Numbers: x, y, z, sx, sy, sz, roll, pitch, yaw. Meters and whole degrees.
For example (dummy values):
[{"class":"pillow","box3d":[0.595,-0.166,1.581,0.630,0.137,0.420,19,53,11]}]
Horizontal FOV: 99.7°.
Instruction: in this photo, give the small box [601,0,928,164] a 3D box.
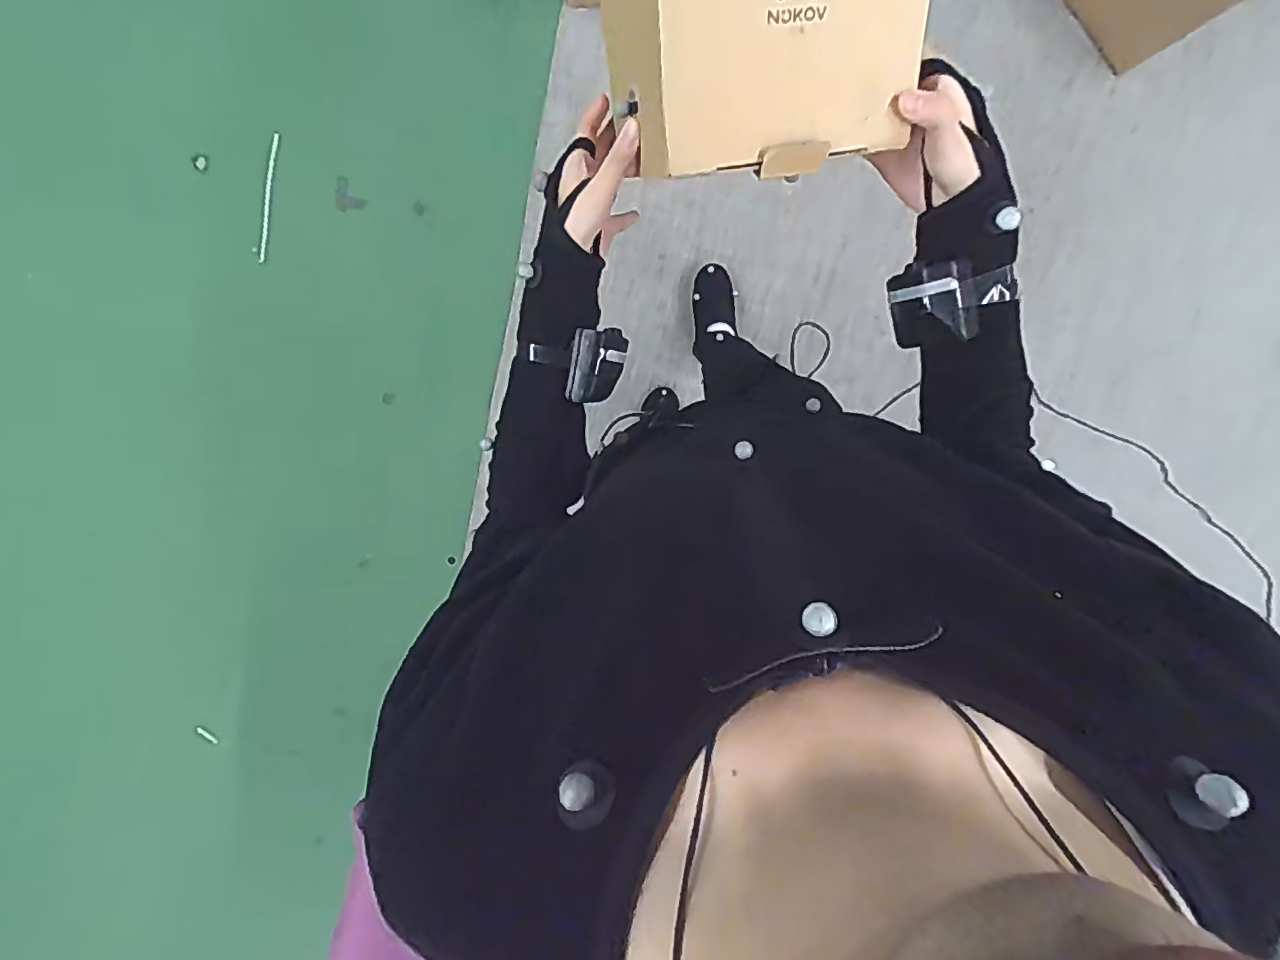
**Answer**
[{"class":"small box","box3d":[0.069,-0.319,0.359,0.168,0.176,0.179,-11,121,-7]}]
